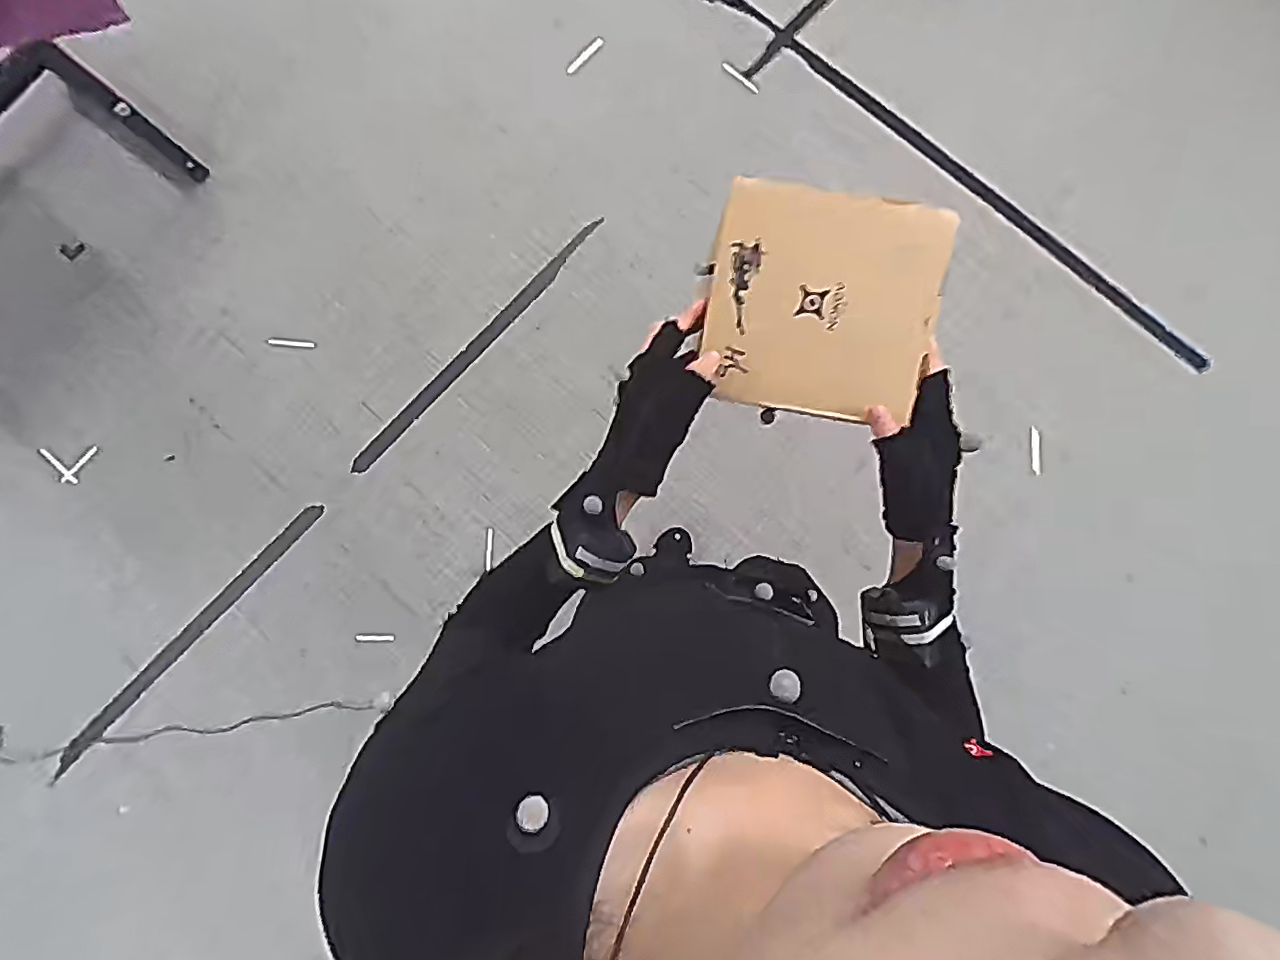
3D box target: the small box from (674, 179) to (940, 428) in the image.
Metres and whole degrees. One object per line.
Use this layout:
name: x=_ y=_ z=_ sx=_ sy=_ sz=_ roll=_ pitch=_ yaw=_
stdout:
small box: x=0.132 y=-0.148 z=0.500 sx=0.179 sy=0.176 sz=0.168 roll=9 pitch=99 yaw=0
